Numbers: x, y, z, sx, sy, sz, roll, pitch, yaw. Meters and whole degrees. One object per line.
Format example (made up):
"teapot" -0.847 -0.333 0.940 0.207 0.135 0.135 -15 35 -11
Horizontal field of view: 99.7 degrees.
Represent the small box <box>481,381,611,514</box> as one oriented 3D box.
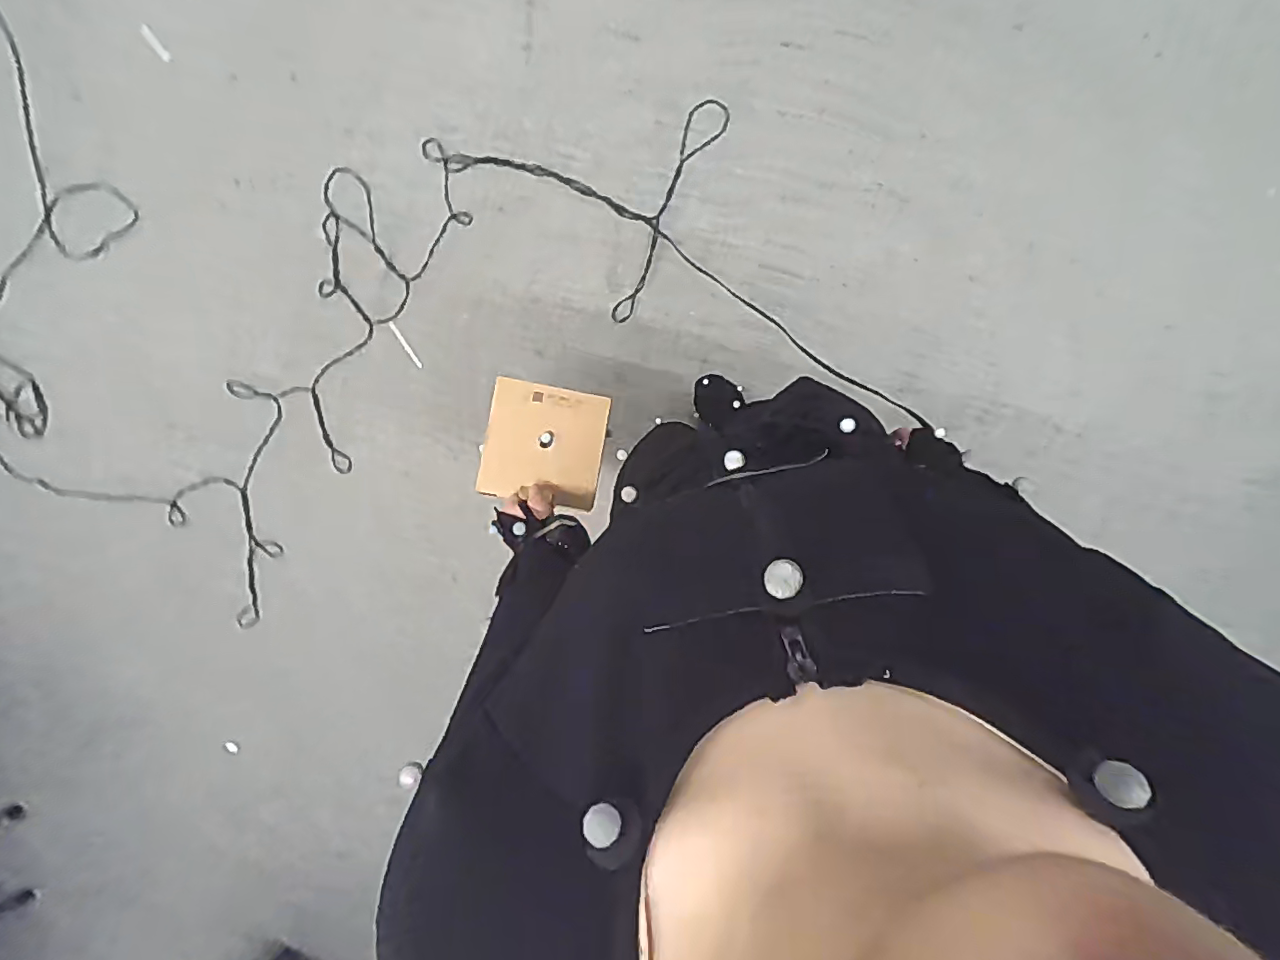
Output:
"small box" -0.144 -0.044 0.841 0.168 0.179 0.176 11 84 -10
